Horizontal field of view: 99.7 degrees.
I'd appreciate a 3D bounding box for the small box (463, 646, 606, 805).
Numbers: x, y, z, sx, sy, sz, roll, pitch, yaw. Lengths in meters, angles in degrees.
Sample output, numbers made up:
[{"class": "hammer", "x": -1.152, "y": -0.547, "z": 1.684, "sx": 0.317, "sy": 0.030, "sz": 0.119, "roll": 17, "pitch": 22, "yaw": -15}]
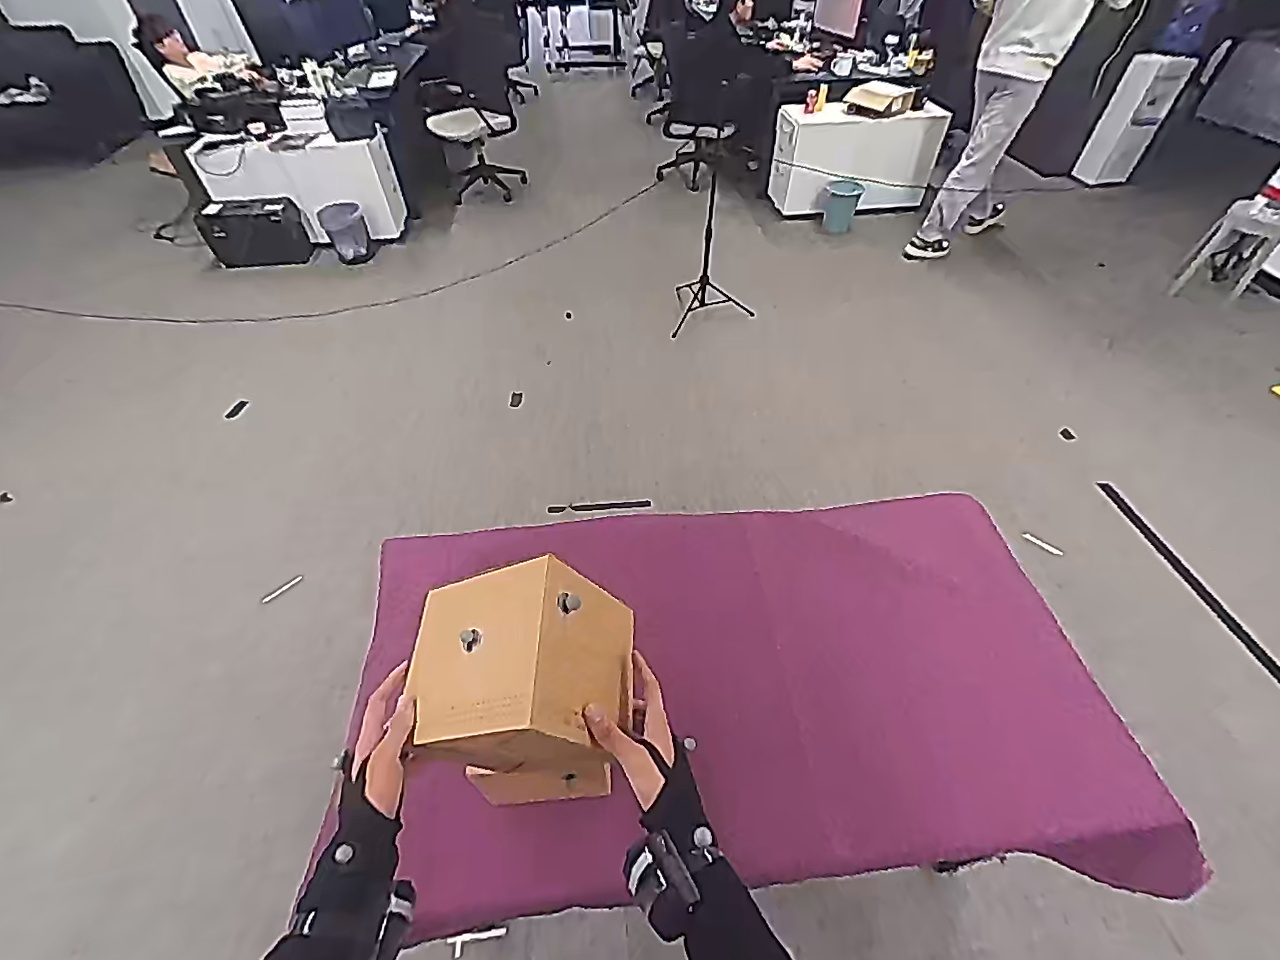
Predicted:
[{"class": "small box", "x": -0.138, "y": 0.357, "z": 0.783, "sx": 0.179, "sy": 0.176, "sz": 0.168, "roll": -3, "pitch": 48, "yaw": -3}]
